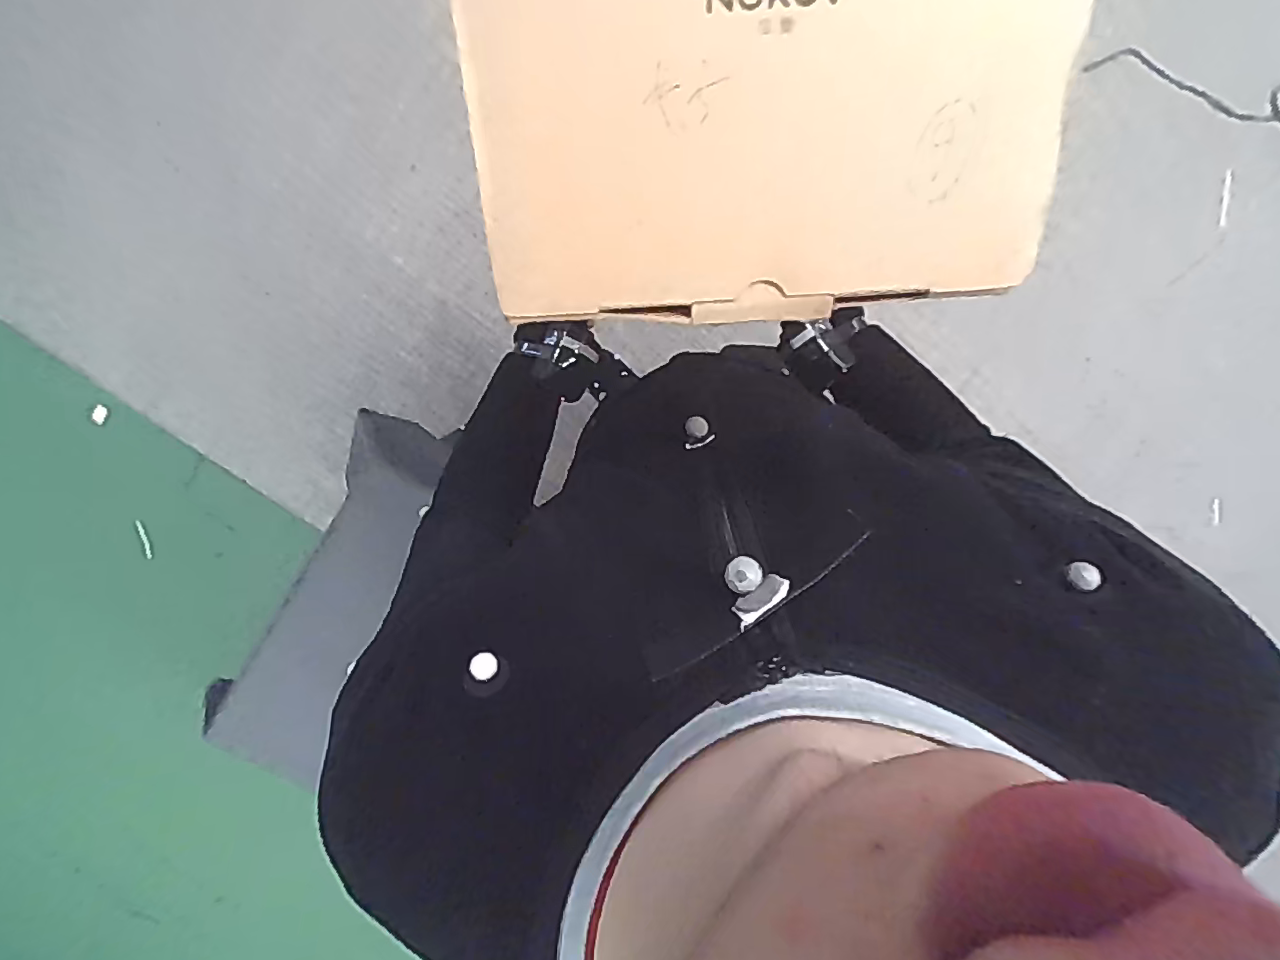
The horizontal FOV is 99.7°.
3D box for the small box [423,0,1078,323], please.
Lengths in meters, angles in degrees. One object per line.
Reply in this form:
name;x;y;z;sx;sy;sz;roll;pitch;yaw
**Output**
small box;0.026;-0.164;0.202;0.168;0.176;0.179;-3;115;-1
